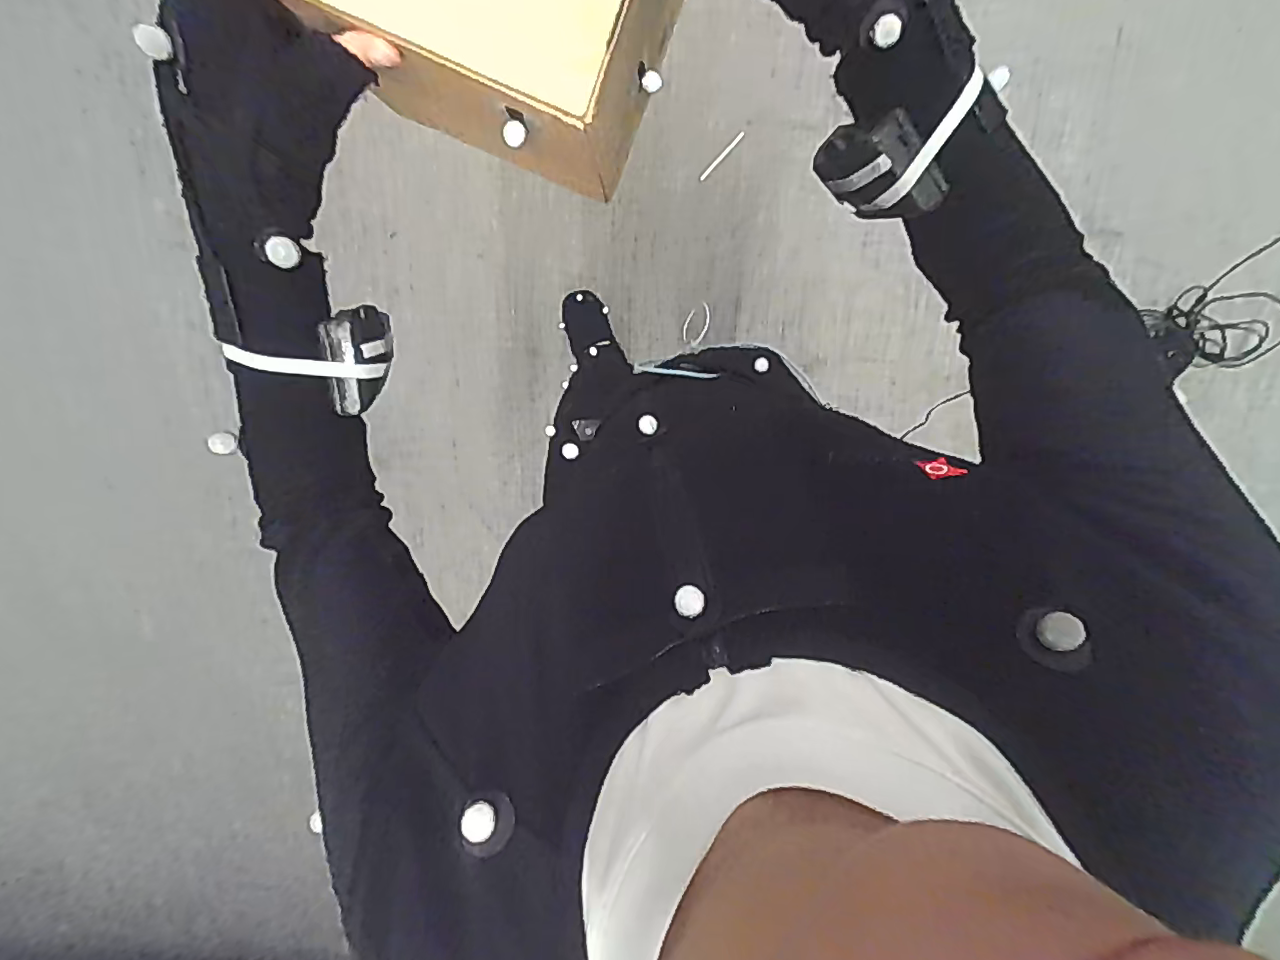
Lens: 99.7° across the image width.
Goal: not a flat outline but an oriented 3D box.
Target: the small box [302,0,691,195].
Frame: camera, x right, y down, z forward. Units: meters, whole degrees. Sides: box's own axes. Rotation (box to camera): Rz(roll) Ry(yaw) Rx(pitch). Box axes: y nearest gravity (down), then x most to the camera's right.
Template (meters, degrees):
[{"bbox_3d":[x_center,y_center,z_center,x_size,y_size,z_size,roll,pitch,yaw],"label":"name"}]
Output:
[{"bbox_3d":[-0.071,-0.298,0.319,0.179,0.176,0.168,22,104,-5],"label":"small box"}]
